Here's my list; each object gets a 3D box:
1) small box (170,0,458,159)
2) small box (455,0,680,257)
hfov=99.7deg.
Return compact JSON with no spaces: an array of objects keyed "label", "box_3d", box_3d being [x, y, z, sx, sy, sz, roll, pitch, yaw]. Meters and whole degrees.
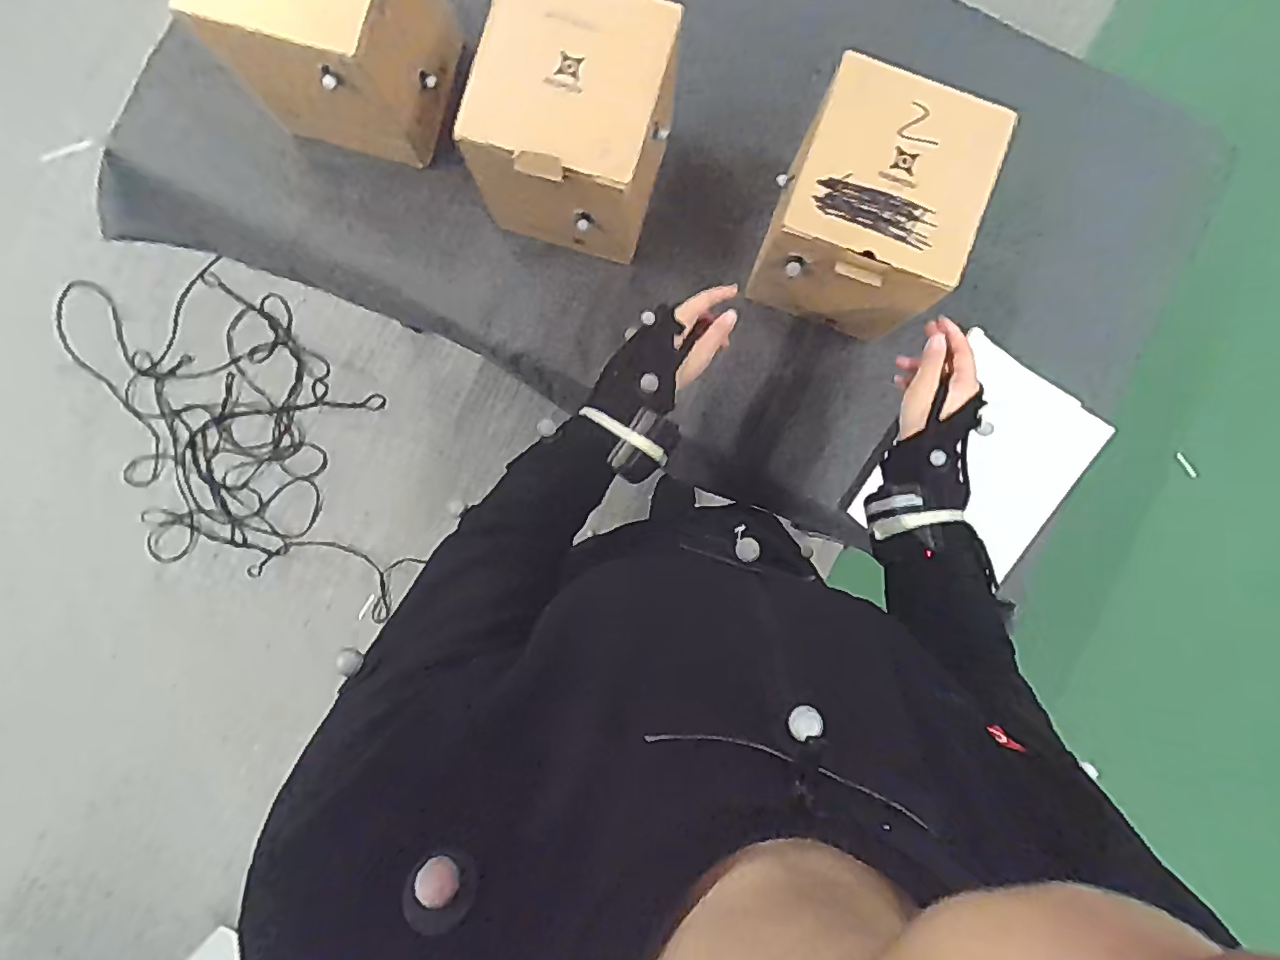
[{"label":"small box","box_3d":[-0.315,-0.473,0.561,0.179,0.176,0.168,14,88,-1]},{"label":"small box","box_3d":[-0.065,-0.363,0.560,0.168,0.176,0.179,16,87,-1]}]
